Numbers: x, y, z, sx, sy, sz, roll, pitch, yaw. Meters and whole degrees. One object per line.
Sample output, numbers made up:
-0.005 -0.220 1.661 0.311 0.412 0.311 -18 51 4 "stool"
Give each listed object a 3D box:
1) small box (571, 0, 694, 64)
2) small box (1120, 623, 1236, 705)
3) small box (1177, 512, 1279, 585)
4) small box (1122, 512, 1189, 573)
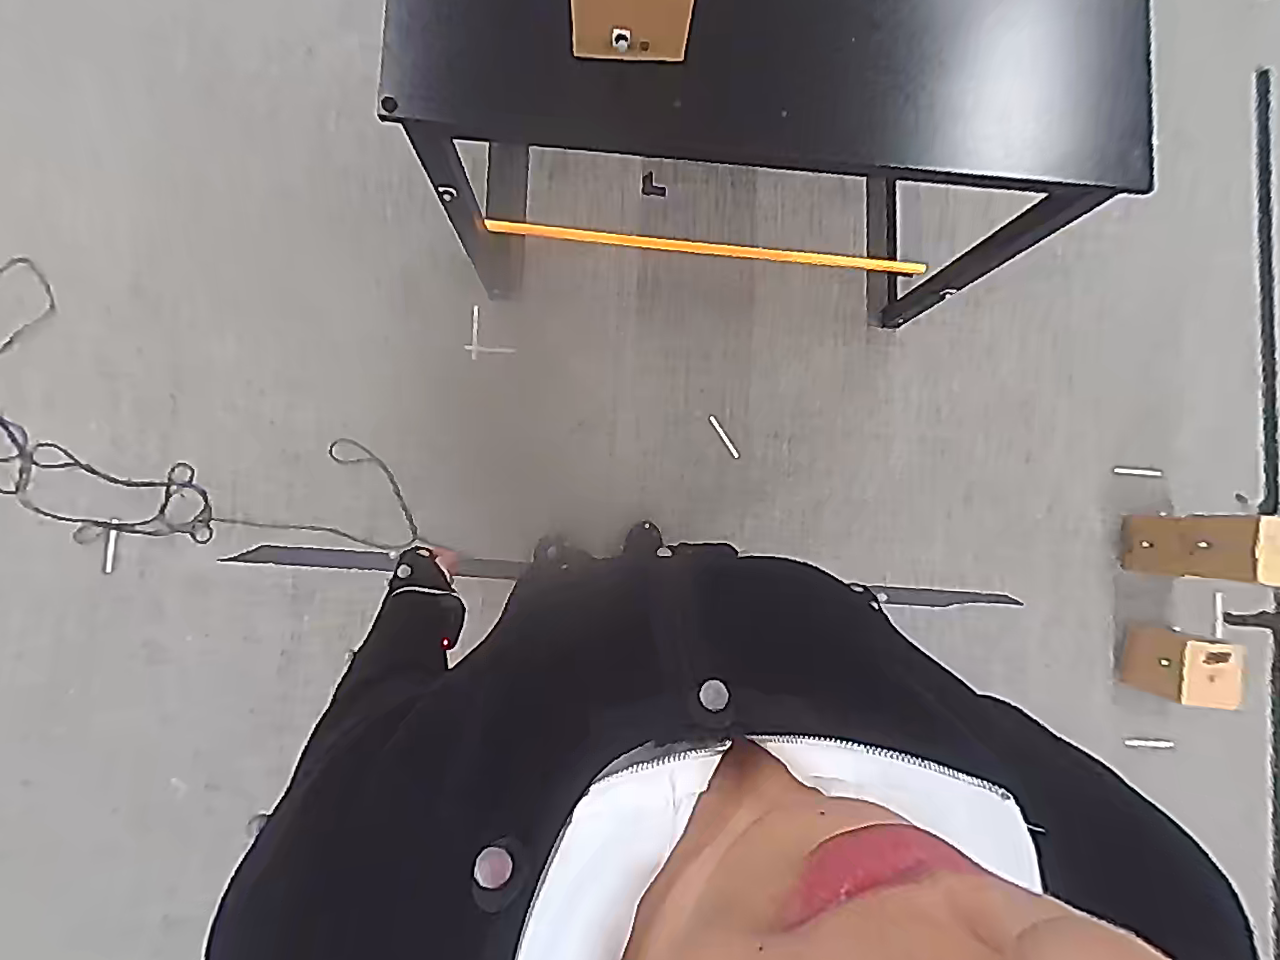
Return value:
-0.014 -0.719 0.736 0.168 0.176 0.179 -3 88 -4 "small box"
1.514 0.513 1.531 0.168 0.176 0.179 6 88 -4 "small box"
1.547 0.172 1.381 0.179 0.176 0.168 8 86 -4 "small box"
1.530 0.179 1.546 0.179 0.176 0.168 3 87 -4 "small box"
